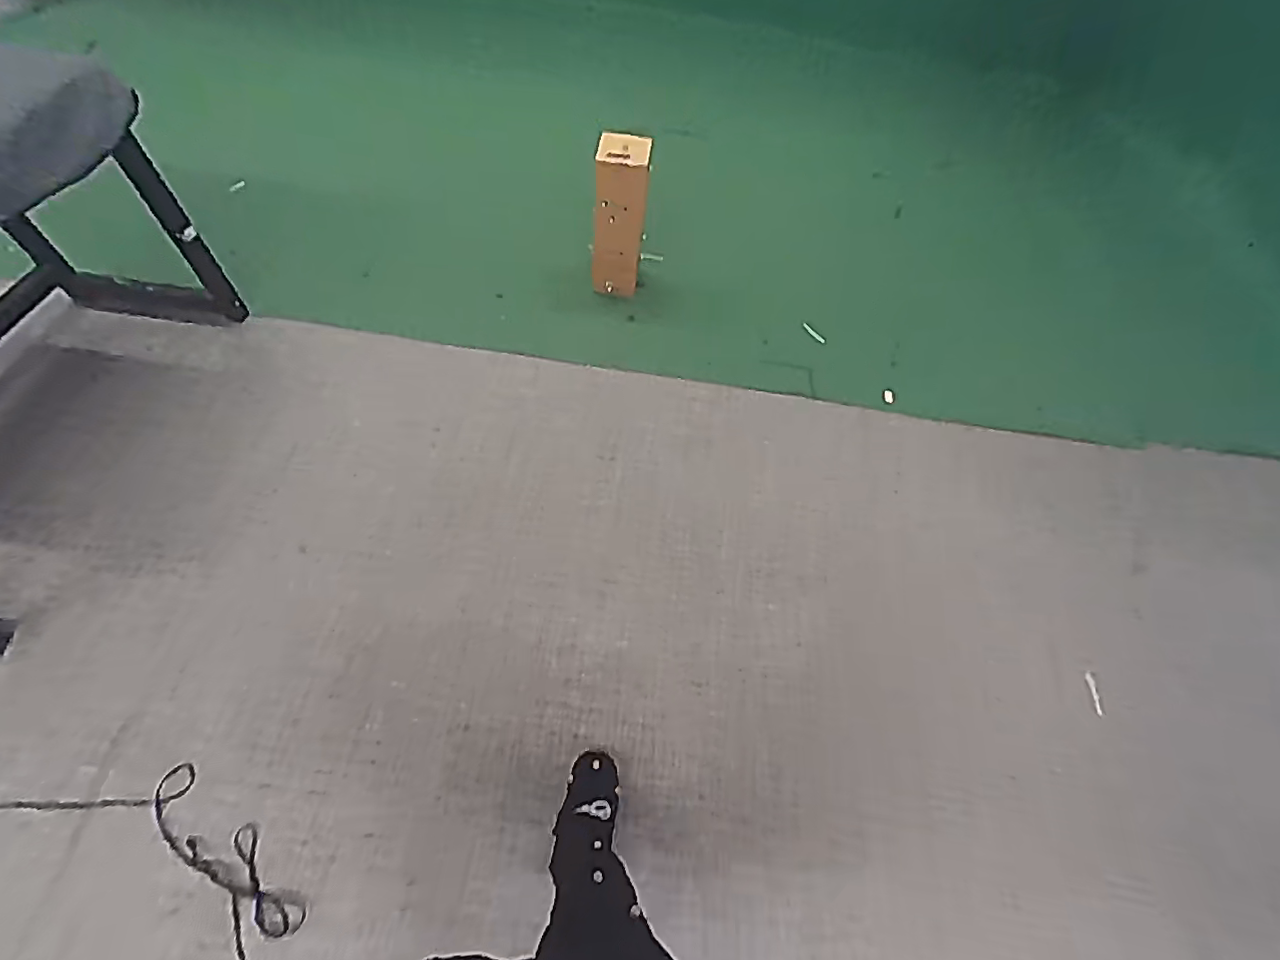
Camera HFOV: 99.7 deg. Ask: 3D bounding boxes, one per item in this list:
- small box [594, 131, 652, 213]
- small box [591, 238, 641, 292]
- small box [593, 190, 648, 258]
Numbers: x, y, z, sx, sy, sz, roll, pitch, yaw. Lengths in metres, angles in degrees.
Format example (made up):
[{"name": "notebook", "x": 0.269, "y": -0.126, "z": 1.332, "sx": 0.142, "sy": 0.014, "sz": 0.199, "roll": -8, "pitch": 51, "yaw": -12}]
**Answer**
[{"name": "small box", "x": -0.056, "y": -1.008, "z": 1.776, "sx": 0.168, "sy": 0.176, "sz": 0.179, "roll": 8, "pitch": 57, "yaw": -1}, {"name": "small box", "x": -0.089, "y": -0.842, "z": 2.035, "sx": 0.168, "sy": 0.176, "sz": 0.179, "roll": 9, "pitch": 58, "yaw": 2}, {"name": "small box", "x": -0.072, "y": -0.919, "z": 1.914, "sx": 0.168, "sy": 0.176, "sz": 0.179, "roll": 9, "pitch": 57, "yaw": 0}]
